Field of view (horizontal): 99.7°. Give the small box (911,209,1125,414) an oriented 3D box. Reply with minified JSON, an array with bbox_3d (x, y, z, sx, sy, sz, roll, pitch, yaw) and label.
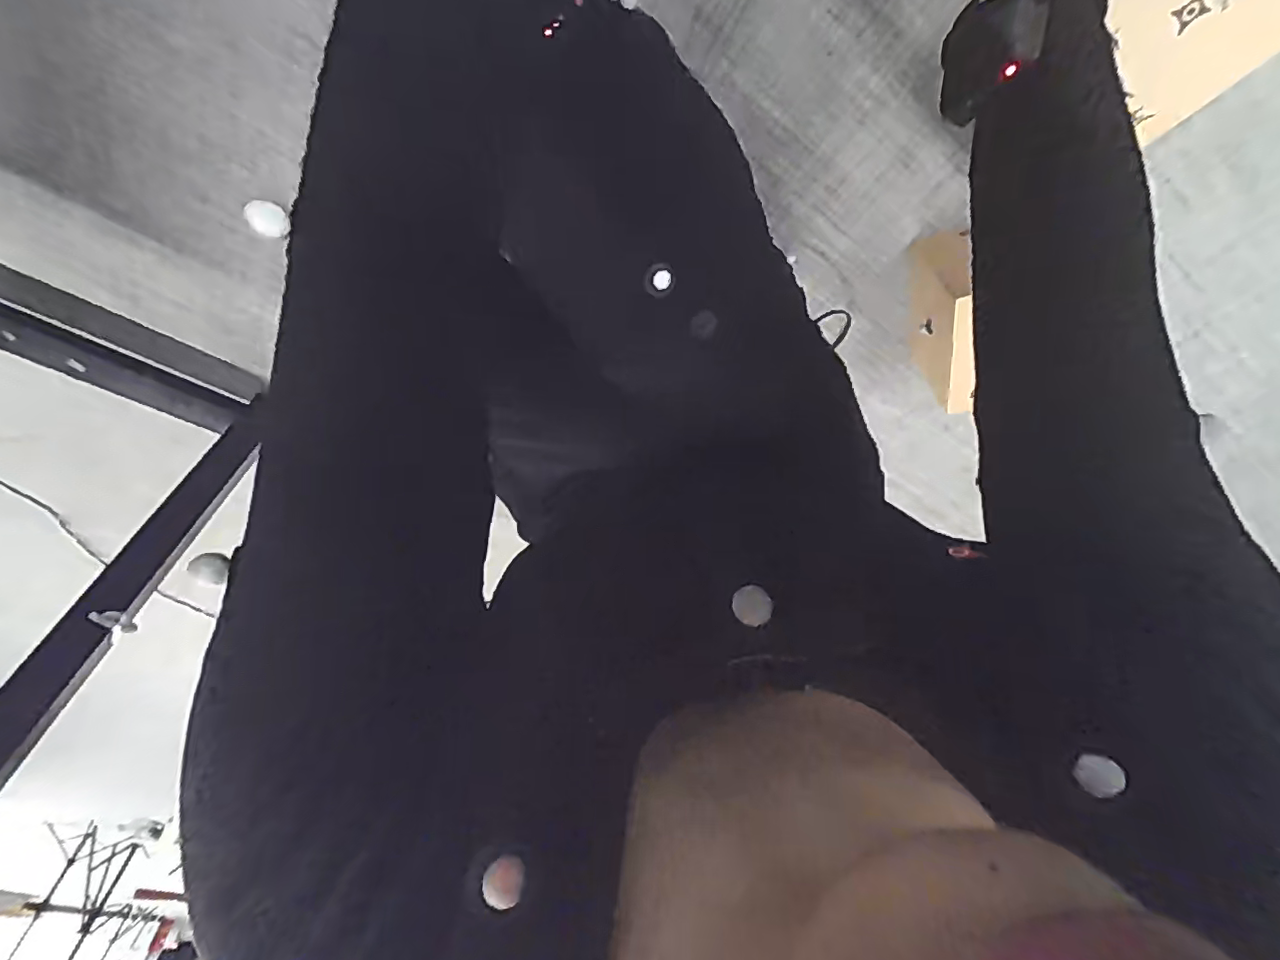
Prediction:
[{"bbox_3d":[0.466,-0.217,0.703,0.168,0.176,0.179,-11,133,15],"label":"small box"}]
